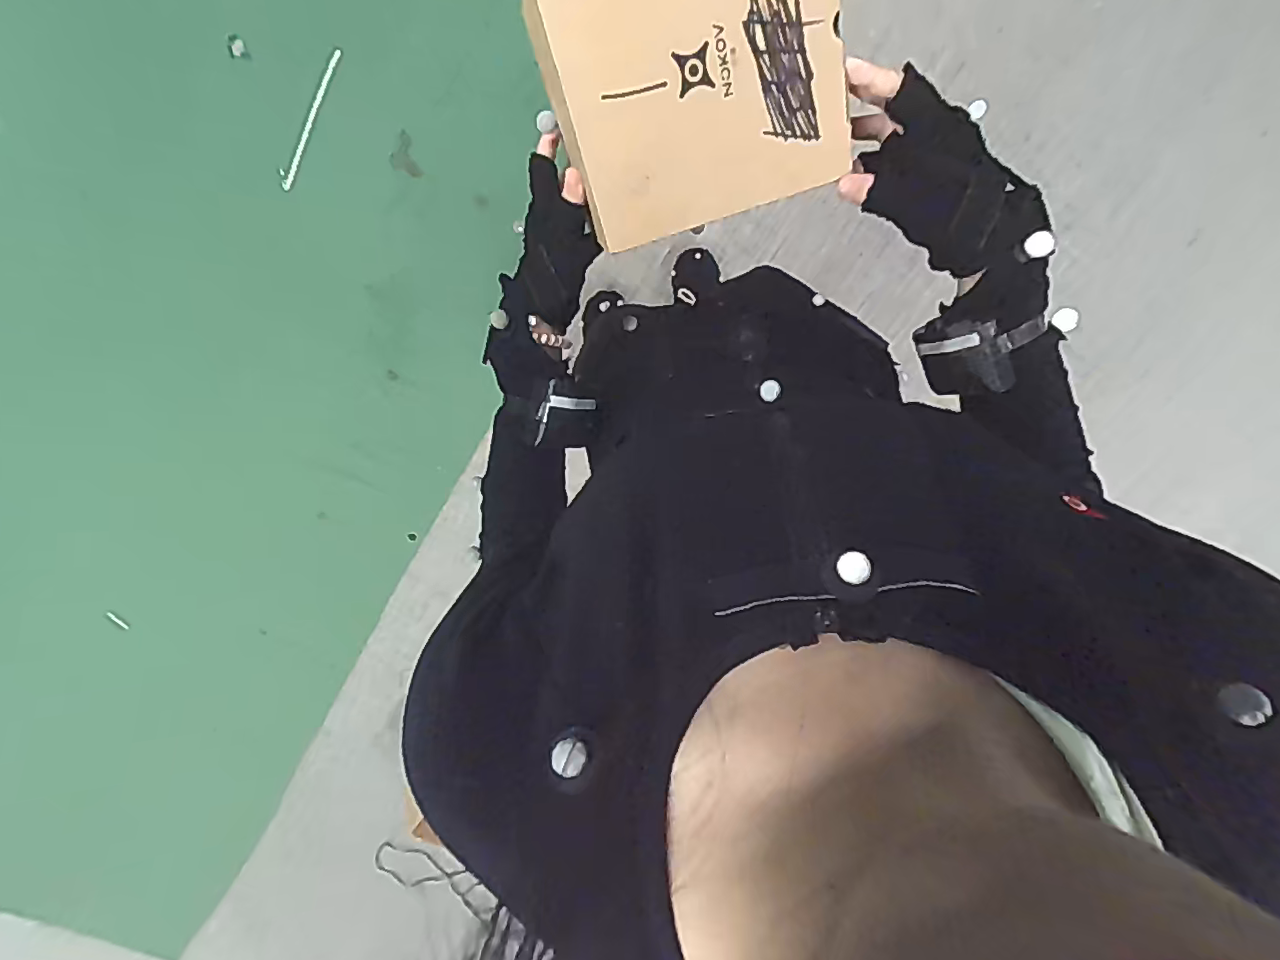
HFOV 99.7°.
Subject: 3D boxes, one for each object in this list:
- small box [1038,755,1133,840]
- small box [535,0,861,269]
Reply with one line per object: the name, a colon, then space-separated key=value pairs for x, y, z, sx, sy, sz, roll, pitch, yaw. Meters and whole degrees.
small box: x=1.586 y=1.139 z=1.946 sx=0.168 sy=0.176 sz=0.179 roll=29 pitch=108 yaw=-12
small box: x=0.032 y=-0.272 z=0.387 sx=0.179 sy=0.176 sz=0.168 roll=-18 pitch=121 yaw=1
